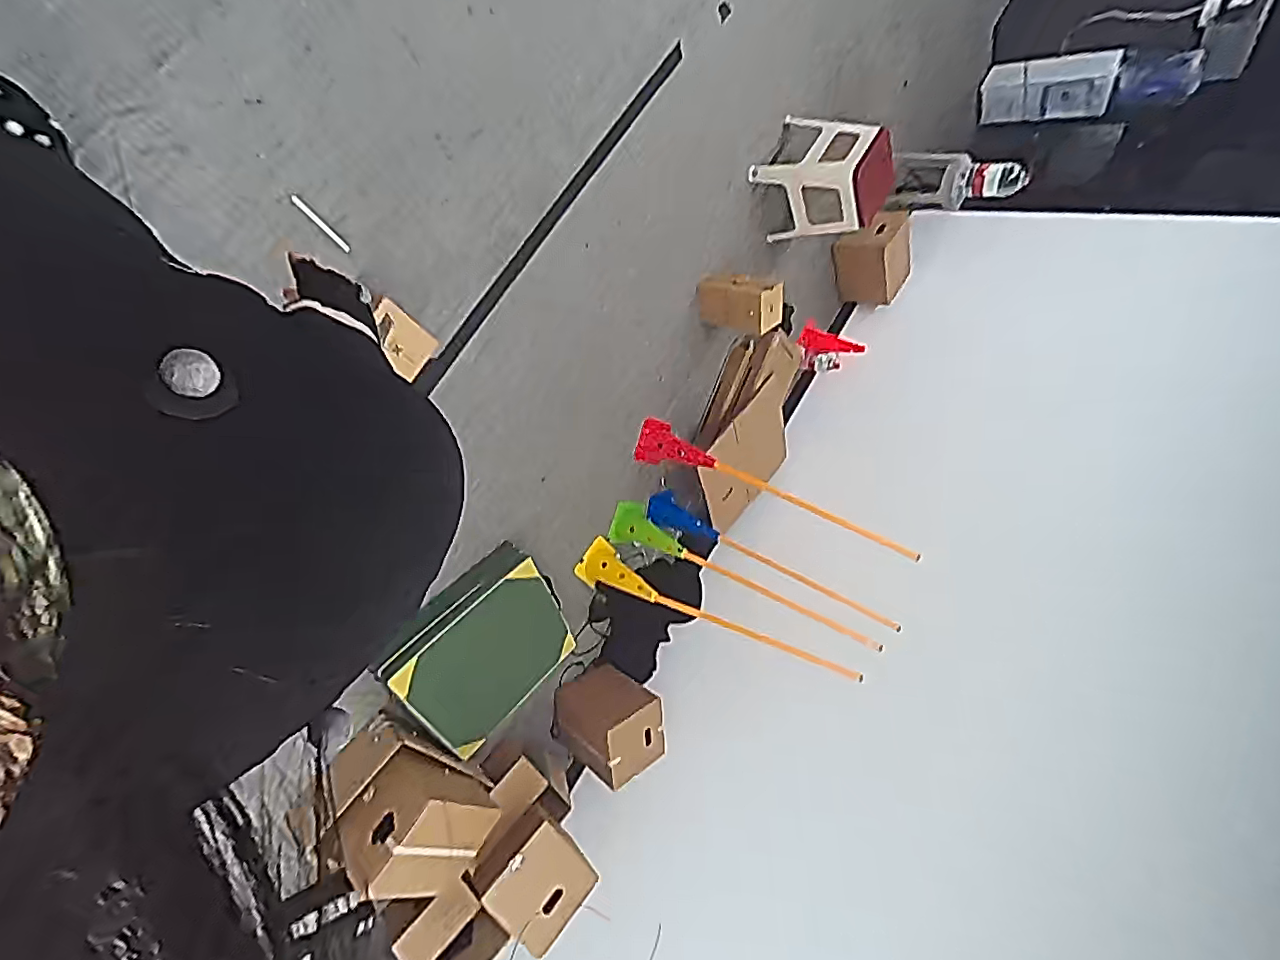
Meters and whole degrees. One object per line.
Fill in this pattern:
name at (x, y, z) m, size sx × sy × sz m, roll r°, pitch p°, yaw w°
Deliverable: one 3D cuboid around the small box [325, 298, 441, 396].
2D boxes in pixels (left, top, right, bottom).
small box at (-0.655, -0.342, 1.373) m, size 0.168 × 0.176 × 0.179 m, roll -58°, pitch 143°, yaw -11°
